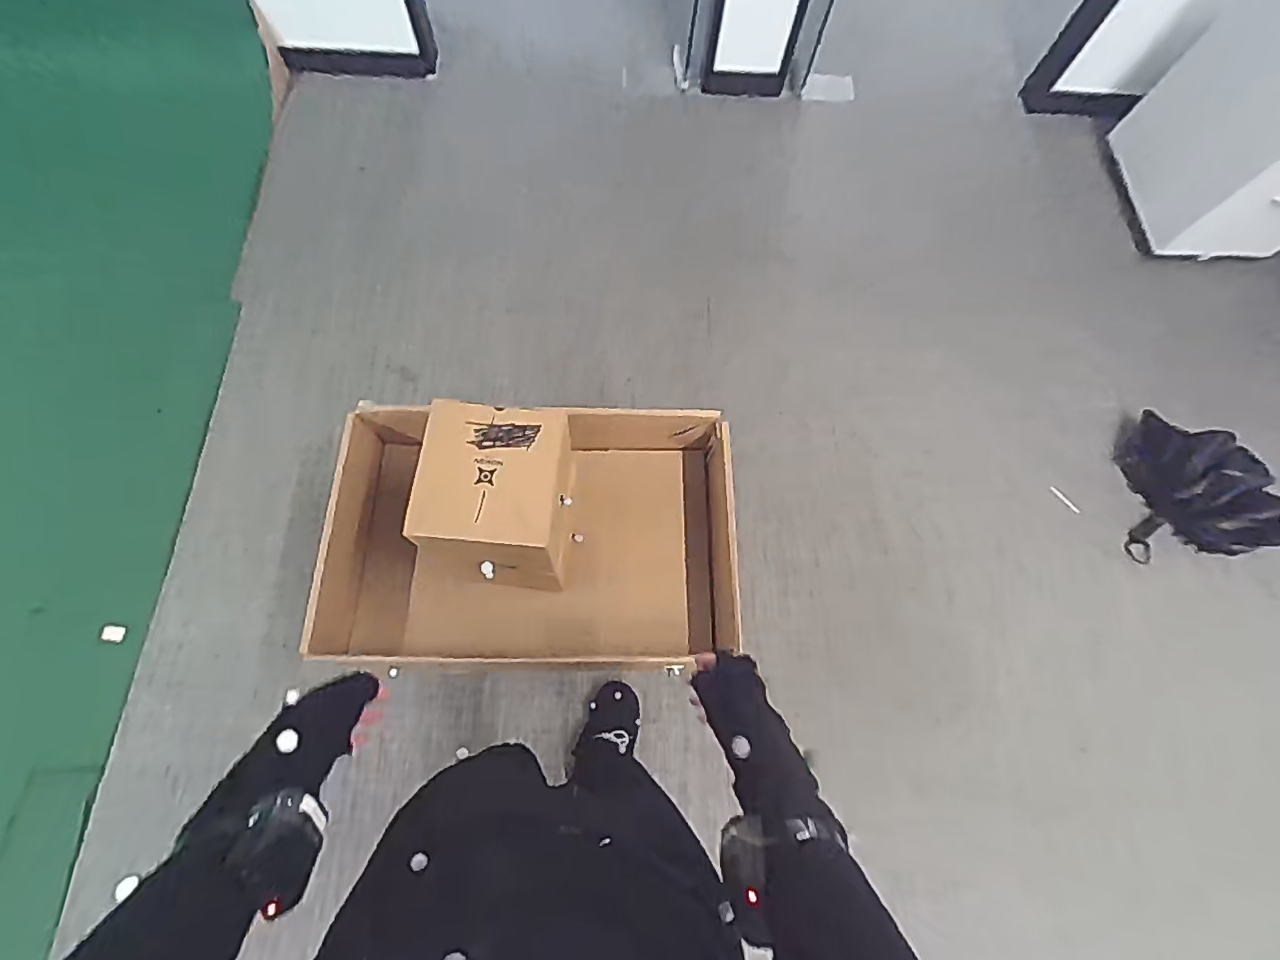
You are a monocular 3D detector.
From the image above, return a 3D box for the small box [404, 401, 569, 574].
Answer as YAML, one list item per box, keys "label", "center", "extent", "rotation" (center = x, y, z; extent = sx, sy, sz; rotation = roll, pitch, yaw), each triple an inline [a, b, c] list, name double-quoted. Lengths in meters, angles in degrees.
- label: "small box"
  center: [-0.187, 0.018, 0.721]
  extent: [0.168, 0.176, 0.179]
  rotation: [6, 70, -2]

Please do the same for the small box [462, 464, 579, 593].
- label: "small box"
  center: [-0.193, 0.074, 0.875]
  extent: [0.168, 0.176, 0.179]
  rotation: [8, 69, 0]
